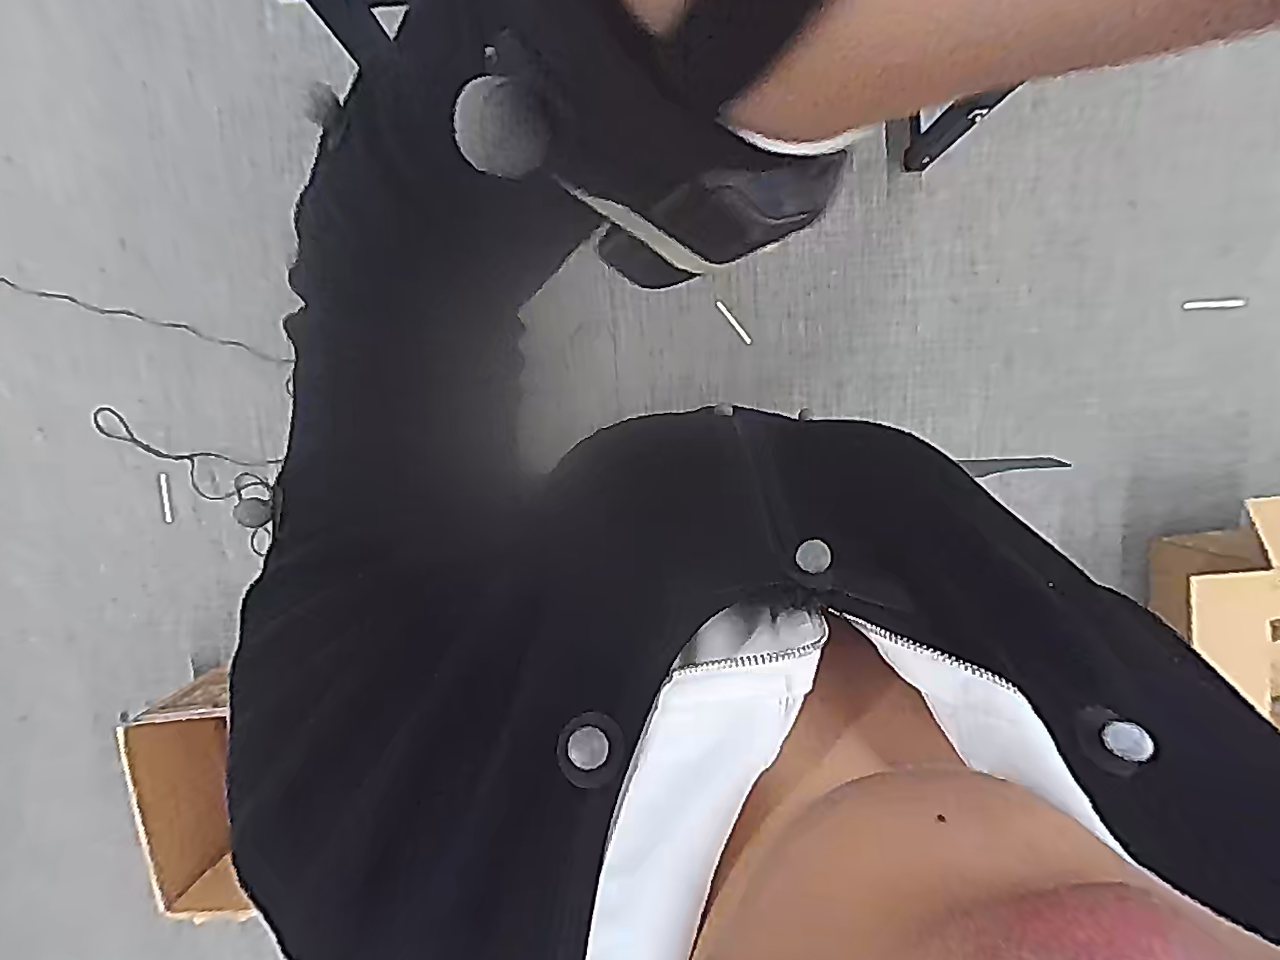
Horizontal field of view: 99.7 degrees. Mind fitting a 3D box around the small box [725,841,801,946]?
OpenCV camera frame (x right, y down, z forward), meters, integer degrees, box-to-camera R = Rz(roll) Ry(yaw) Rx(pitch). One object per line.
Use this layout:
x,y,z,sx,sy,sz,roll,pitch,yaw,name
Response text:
0.334,1.137,1.497,0.179,0.176,0.168,-1,95,2,small box
